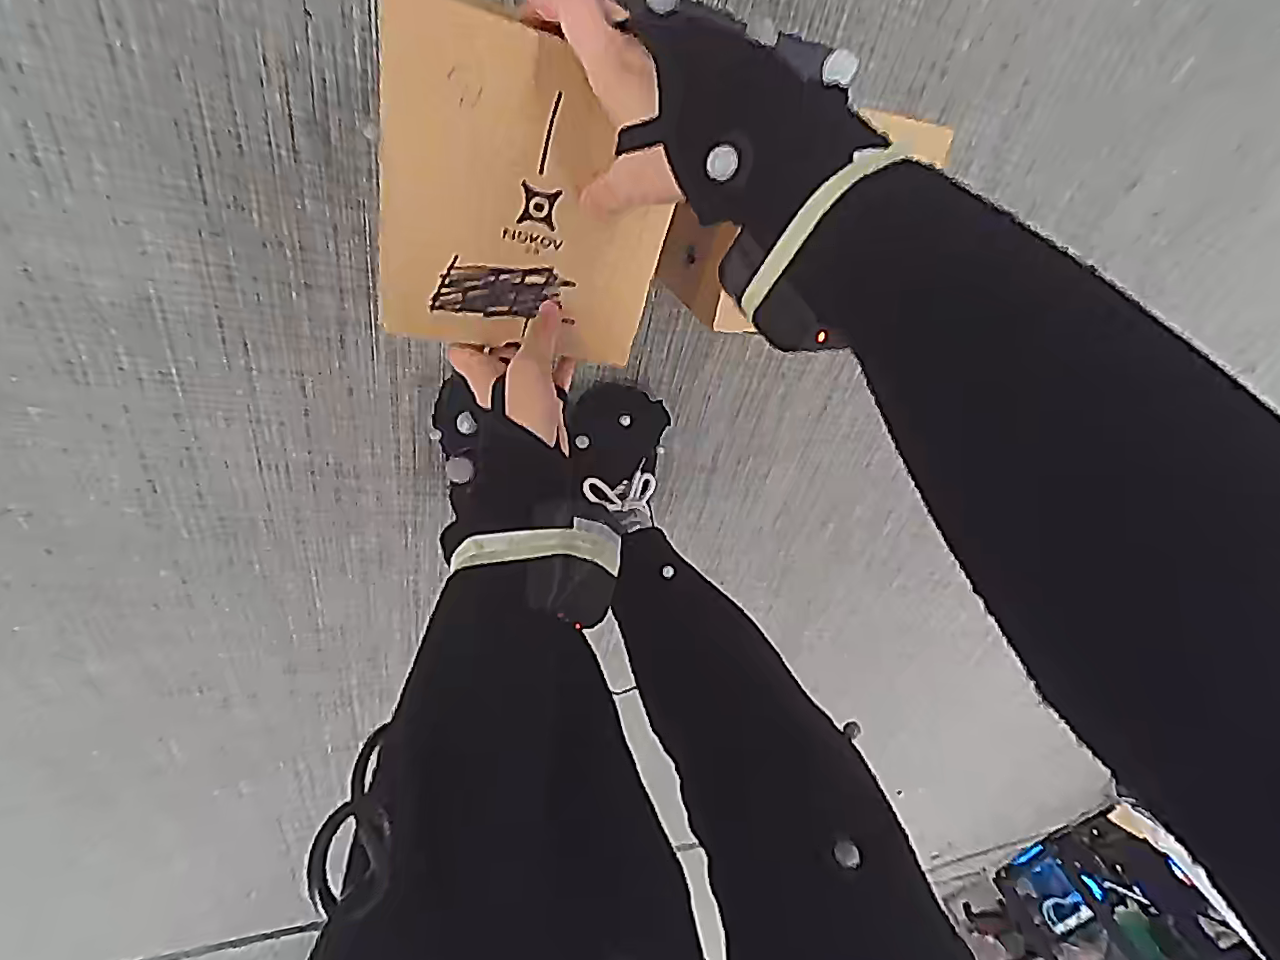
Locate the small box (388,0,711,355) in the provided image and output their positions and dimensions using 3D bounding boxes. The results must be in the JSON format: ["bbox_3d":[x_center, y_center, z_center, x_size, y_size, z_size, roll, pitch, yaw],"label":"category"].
[{"bbox_3d":[-0.077,-0.214,0.376,0.168,0.176,0.179,3,131,-22],"label":"small box"}]
